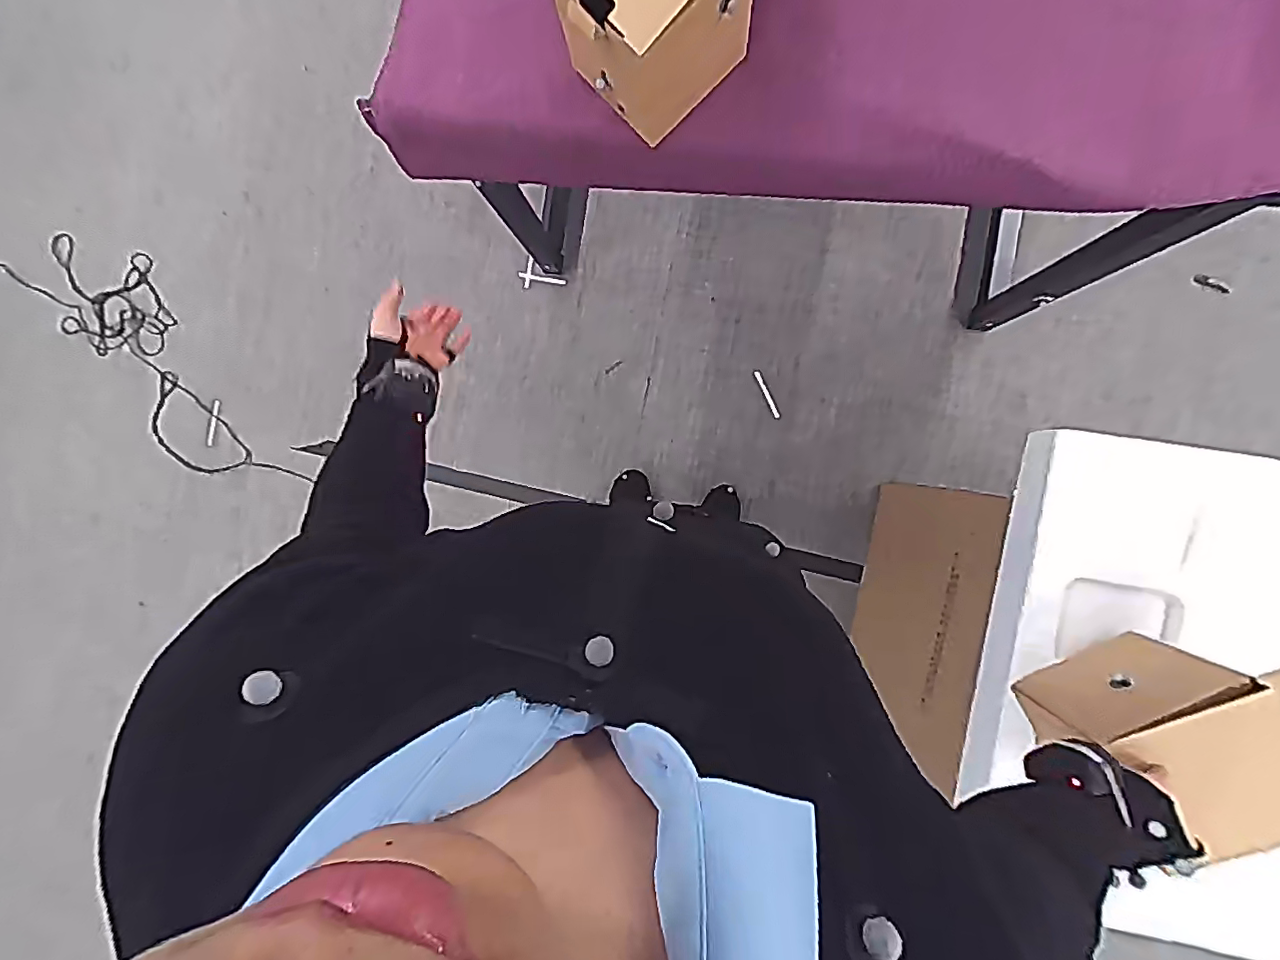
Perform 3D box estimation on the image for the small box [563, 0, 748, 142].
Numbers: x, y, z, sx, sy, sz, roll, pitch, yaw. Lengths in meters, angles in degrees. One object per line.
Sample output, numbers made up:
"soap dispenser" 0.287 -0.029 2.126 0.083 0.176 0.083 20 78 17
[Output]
"small box" 0.017 -0.576 0.665 0.179 0.176 0.168 -42 86 4
